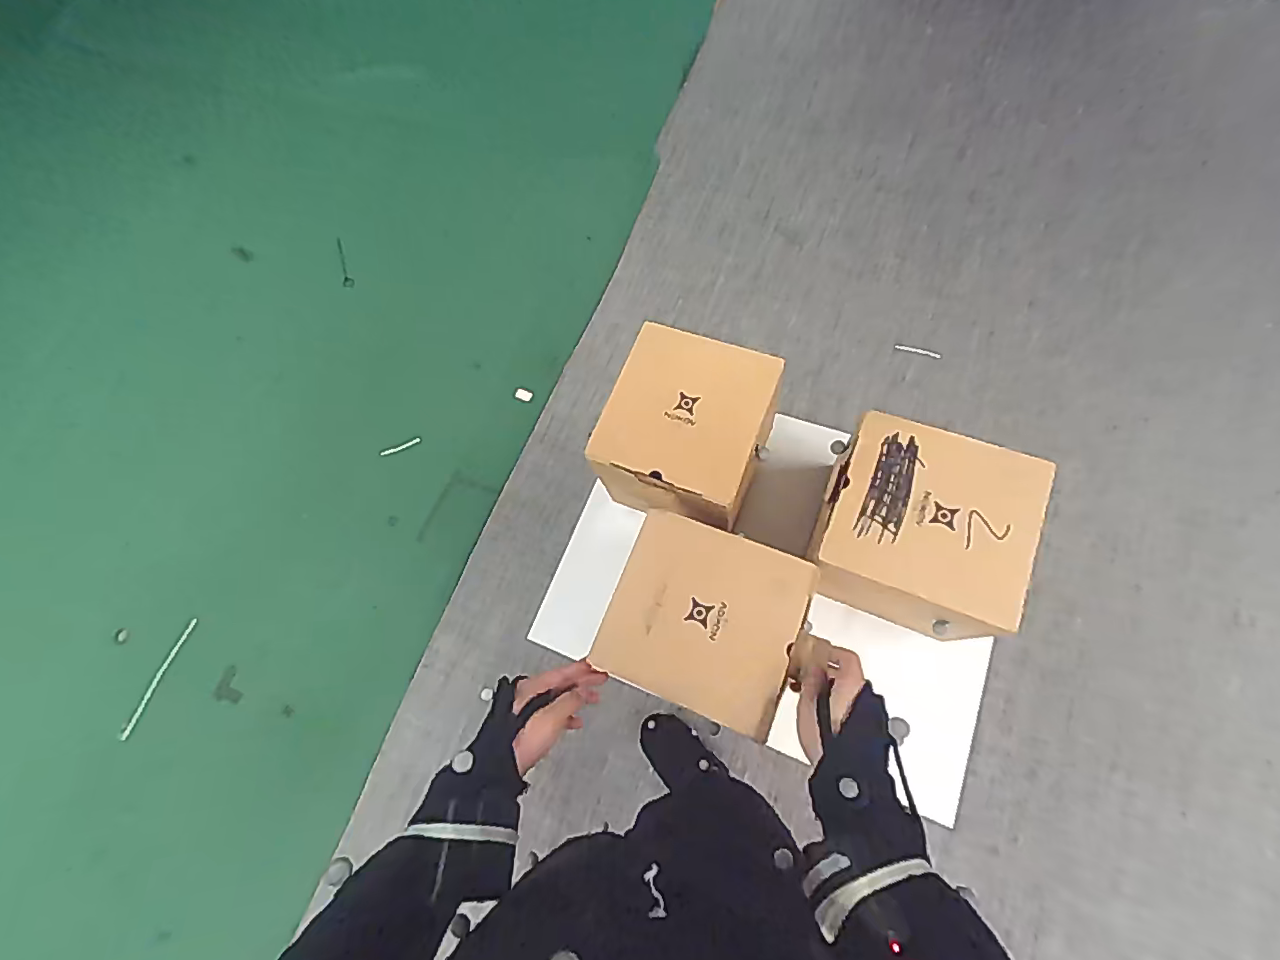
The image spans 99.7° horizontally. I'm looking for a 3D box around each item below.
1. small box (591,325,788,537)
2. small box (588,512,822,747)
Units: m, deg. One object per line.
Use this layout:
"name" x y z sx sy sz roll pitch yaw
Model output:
"small box" 0.062 -0.049 0.647 0.168 0.176 0.179 19 75 14
"small box" 0.071 0.156 0.573 0.179 0.176 0.168 18 72 15
